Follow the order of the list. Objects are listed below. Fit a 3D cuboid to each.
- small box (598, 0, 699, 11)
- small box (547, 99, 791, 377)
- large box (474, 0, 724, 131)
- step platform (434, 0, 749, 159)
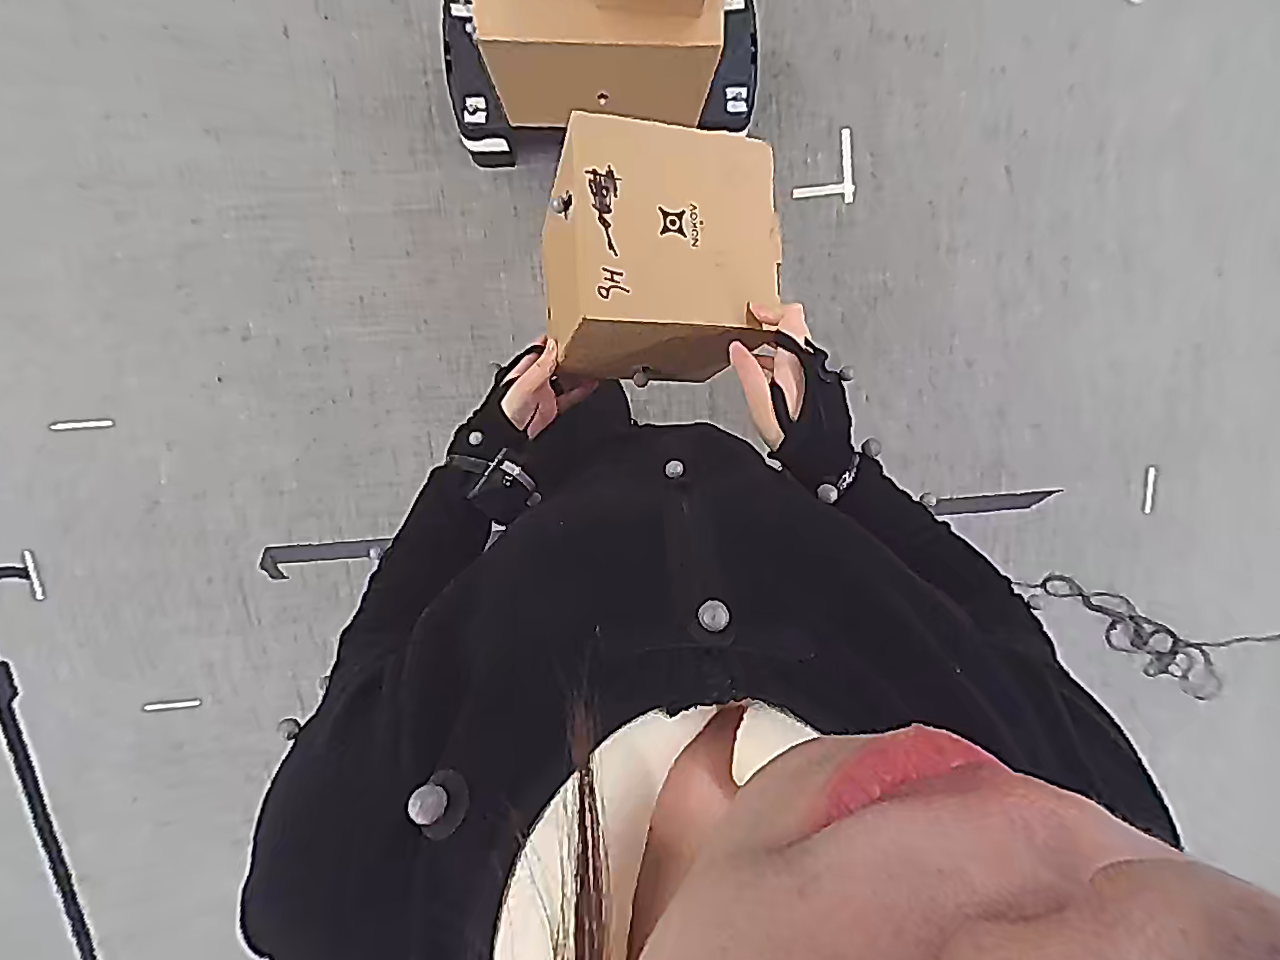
[{"bbox_3d":[0.023,-0.802,0.753,0.179,0.176,0.168,3,101,-3],"label":"small box"},{"bbox_3d":[0.015,-0.198,0.500,0.179,0.176,0.168,-1,85,-18],"label":"small box"},{"bbox_3d":[-0.070,-0.871,0.986,0.408,0.320,0.320,-1,100,-2],"label":"large box"},{"bbox_3d":[-0.102,-0.901,1.221,0.684,0.204,0.286,1,100,-2],"label":"step platform"}]
